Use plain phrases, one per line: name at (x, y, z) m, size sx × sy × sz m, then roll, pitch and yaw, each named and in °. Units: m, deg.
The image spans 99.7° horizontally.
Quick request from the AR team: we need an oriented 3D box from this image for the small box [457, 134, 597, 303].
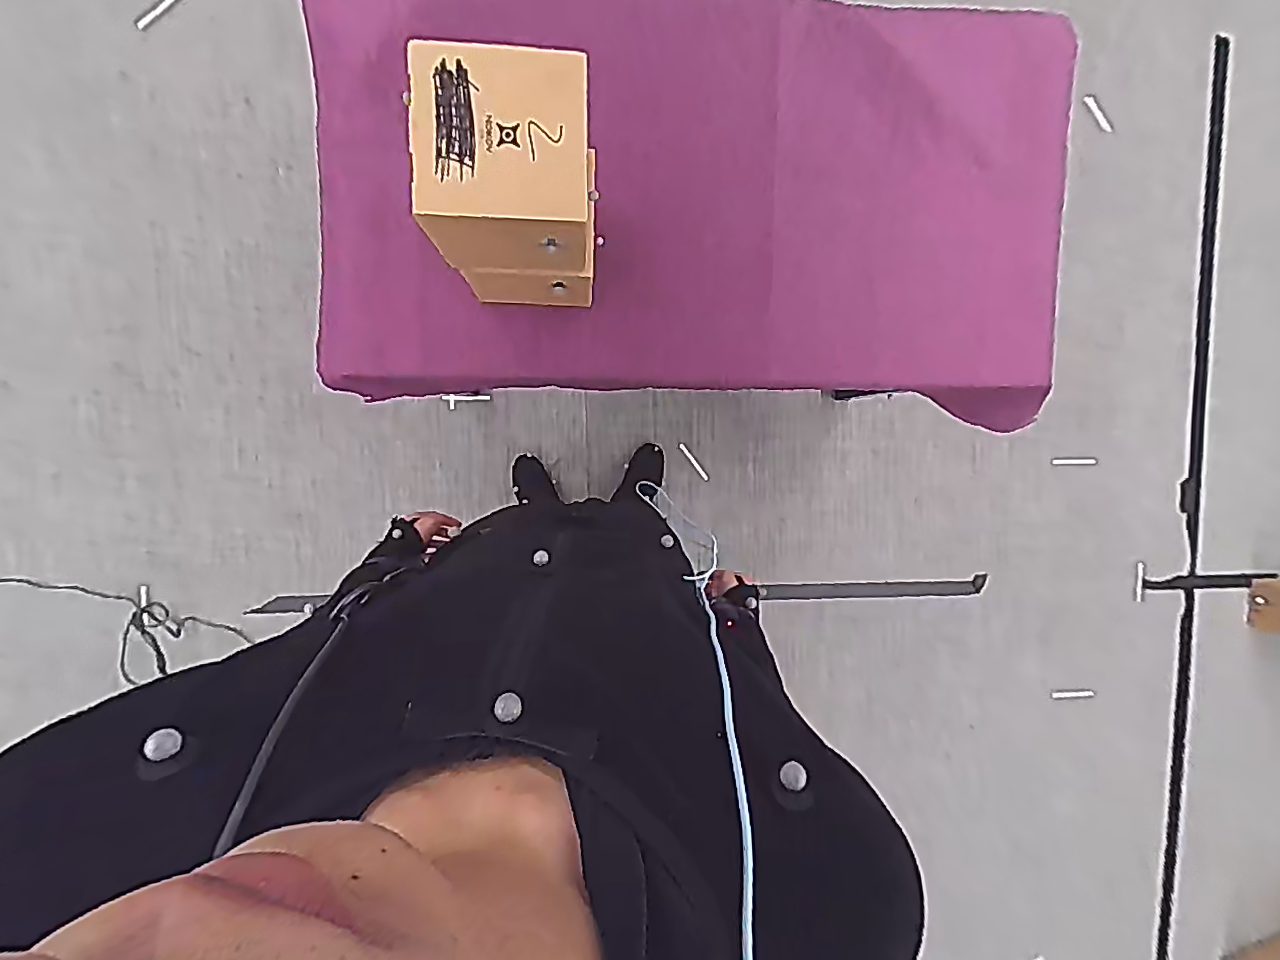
small box at (-0.155, -0.358, 0.774) m, size 0.179 × 0.176 × 0.168 m, roll 1°, pitch 95°, yaw -6°
